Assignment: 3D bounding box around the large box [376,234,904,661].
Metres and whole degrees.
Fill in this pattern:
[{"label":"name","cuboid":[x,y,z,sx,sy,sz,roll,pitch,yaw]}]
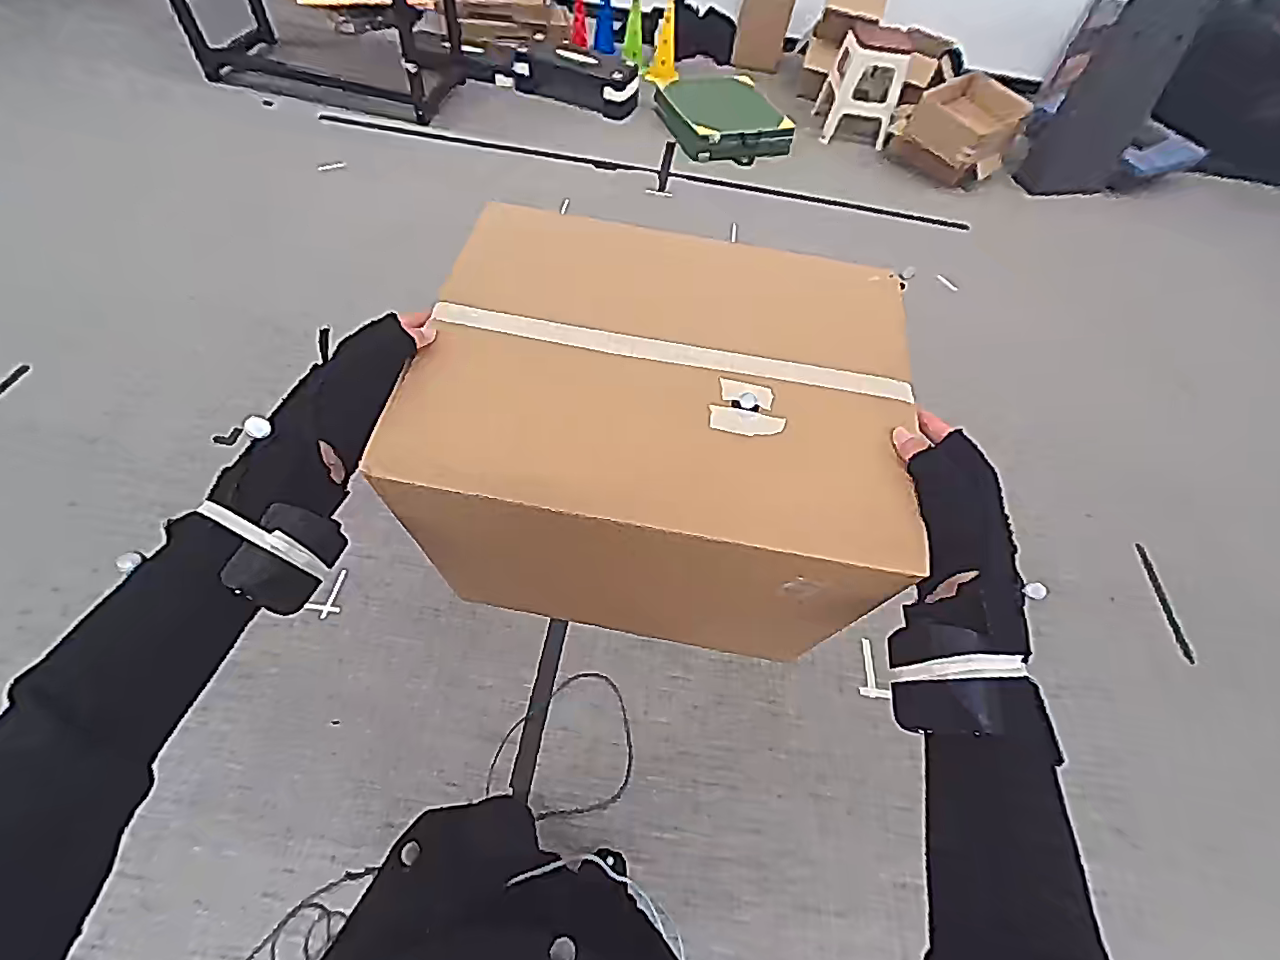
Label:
[{"label":"large box","cuboid":[0.007,-0.015,0.597,0.408,0.320,0.320,10,61,1]}]
